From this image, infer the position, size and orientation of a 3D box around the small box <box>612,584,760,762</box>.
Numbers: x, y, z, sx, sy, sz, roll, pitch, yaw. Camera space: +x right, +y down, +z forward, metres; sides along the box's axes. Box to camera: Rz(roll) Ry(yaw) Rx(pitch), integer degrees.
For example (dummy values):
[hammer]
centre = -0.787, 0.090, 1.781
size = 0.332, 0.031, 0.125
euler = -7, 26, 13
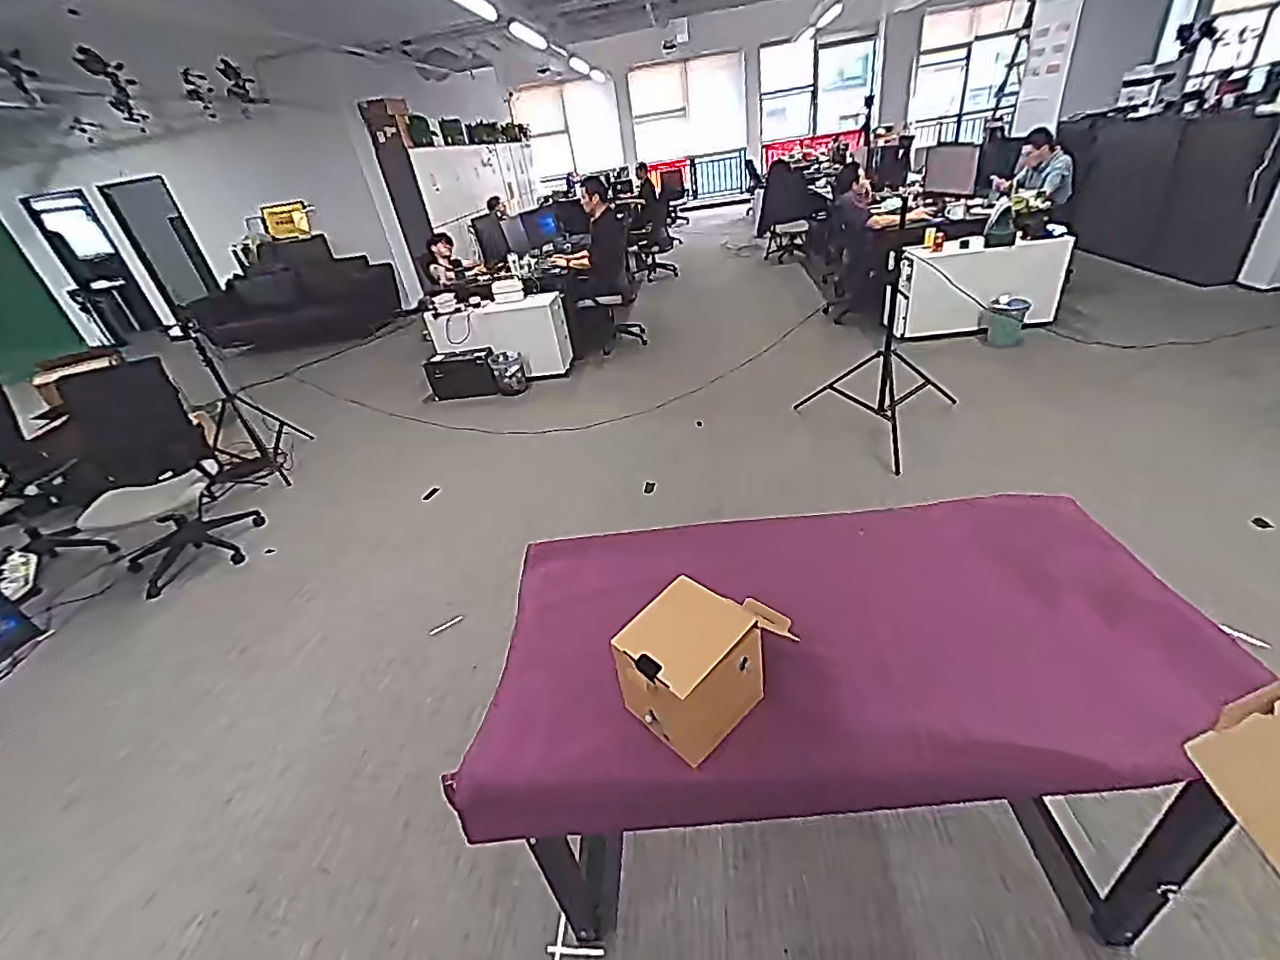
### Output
[small box]
centre = 0.080, 0.311, 0.888
size = 0.179, 0.176, 0.168
euler = -31, 36, -31
